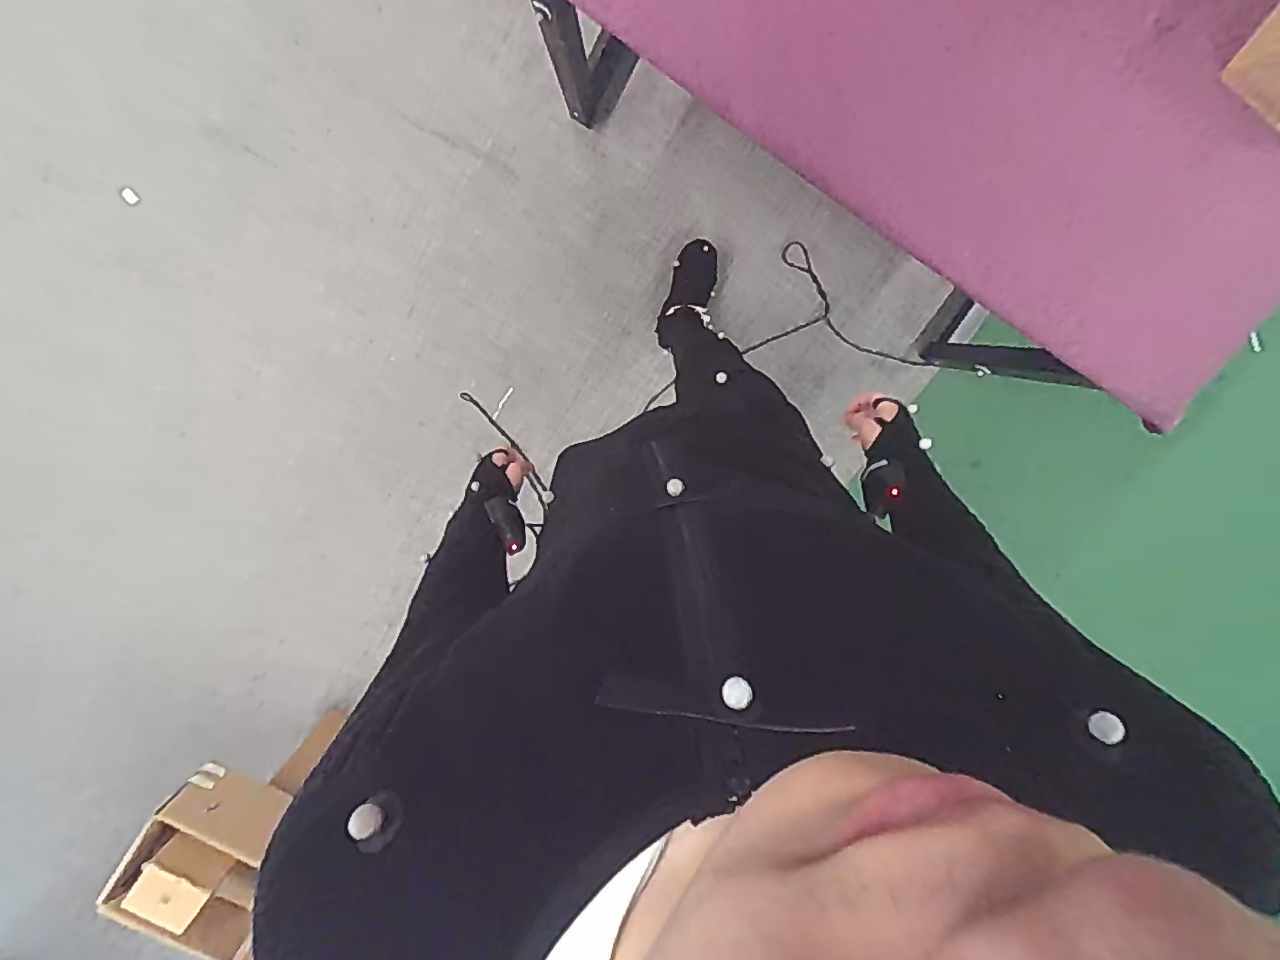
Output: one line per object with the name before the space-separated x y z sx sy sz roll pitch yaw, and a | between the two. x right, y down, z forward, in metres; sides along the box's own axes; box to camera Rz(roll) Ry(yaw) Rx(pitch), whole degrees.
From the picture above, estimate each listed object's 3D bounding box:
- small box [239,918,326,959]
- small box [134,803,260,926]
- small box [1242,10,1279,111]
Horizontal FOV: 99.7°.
small box | -0.913 1.232 1.318 0.168 0.176 0.179 38 103 -10
small box | -1.160 1.011 1.431 0.168 0.176 0.179 37 103 -9
small box | 0.874 -0.536 0.608 0.168 0.176 0.179 32 104 -7
